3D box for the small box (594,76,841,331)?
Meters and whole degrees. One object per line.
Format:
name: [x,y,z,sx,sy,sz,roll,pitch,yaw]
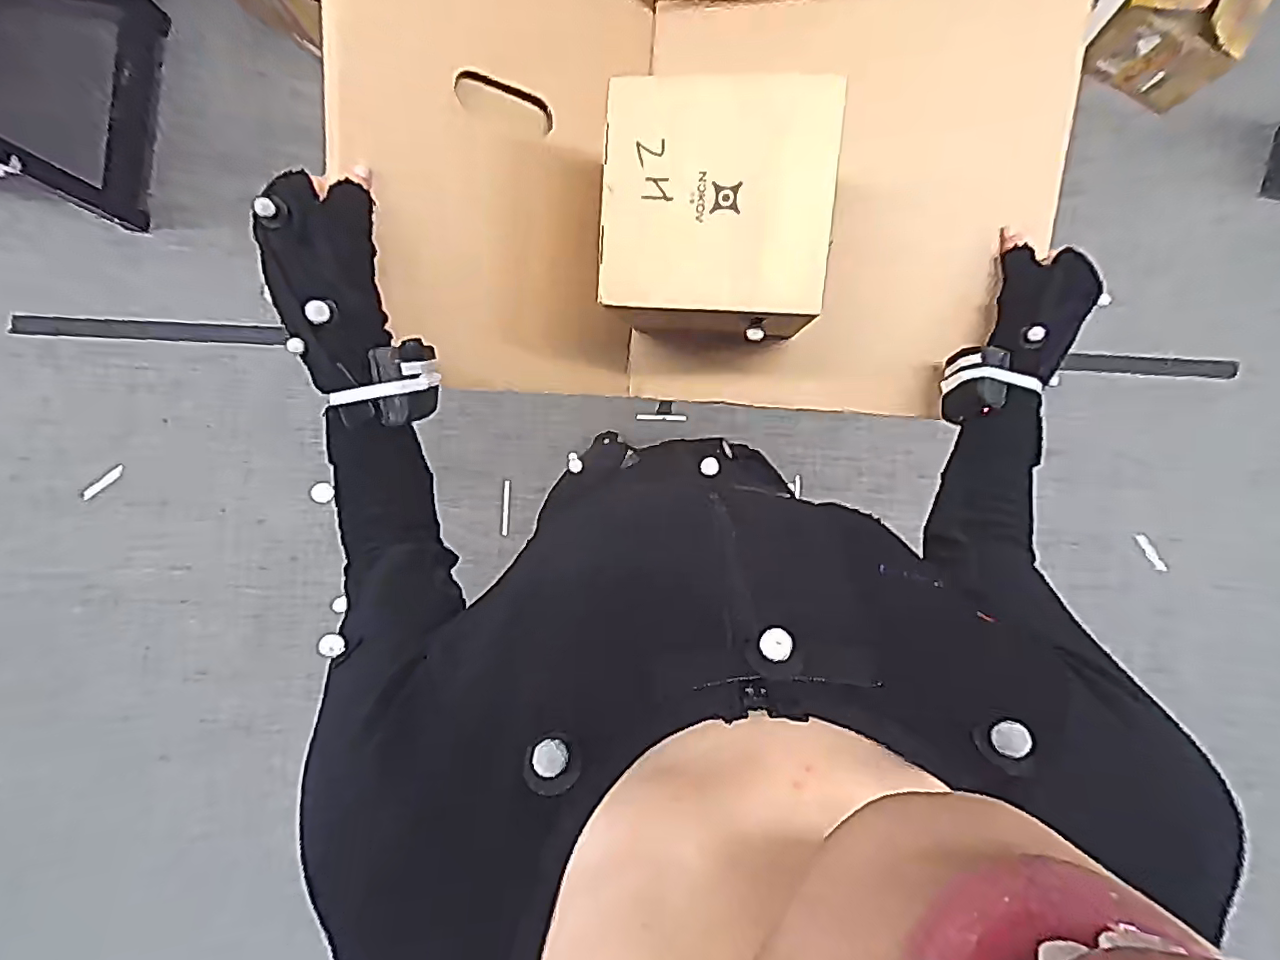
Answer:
small box: [0.066,-0.231,0.493,0.179,0.176,0.168,6,100,9]
